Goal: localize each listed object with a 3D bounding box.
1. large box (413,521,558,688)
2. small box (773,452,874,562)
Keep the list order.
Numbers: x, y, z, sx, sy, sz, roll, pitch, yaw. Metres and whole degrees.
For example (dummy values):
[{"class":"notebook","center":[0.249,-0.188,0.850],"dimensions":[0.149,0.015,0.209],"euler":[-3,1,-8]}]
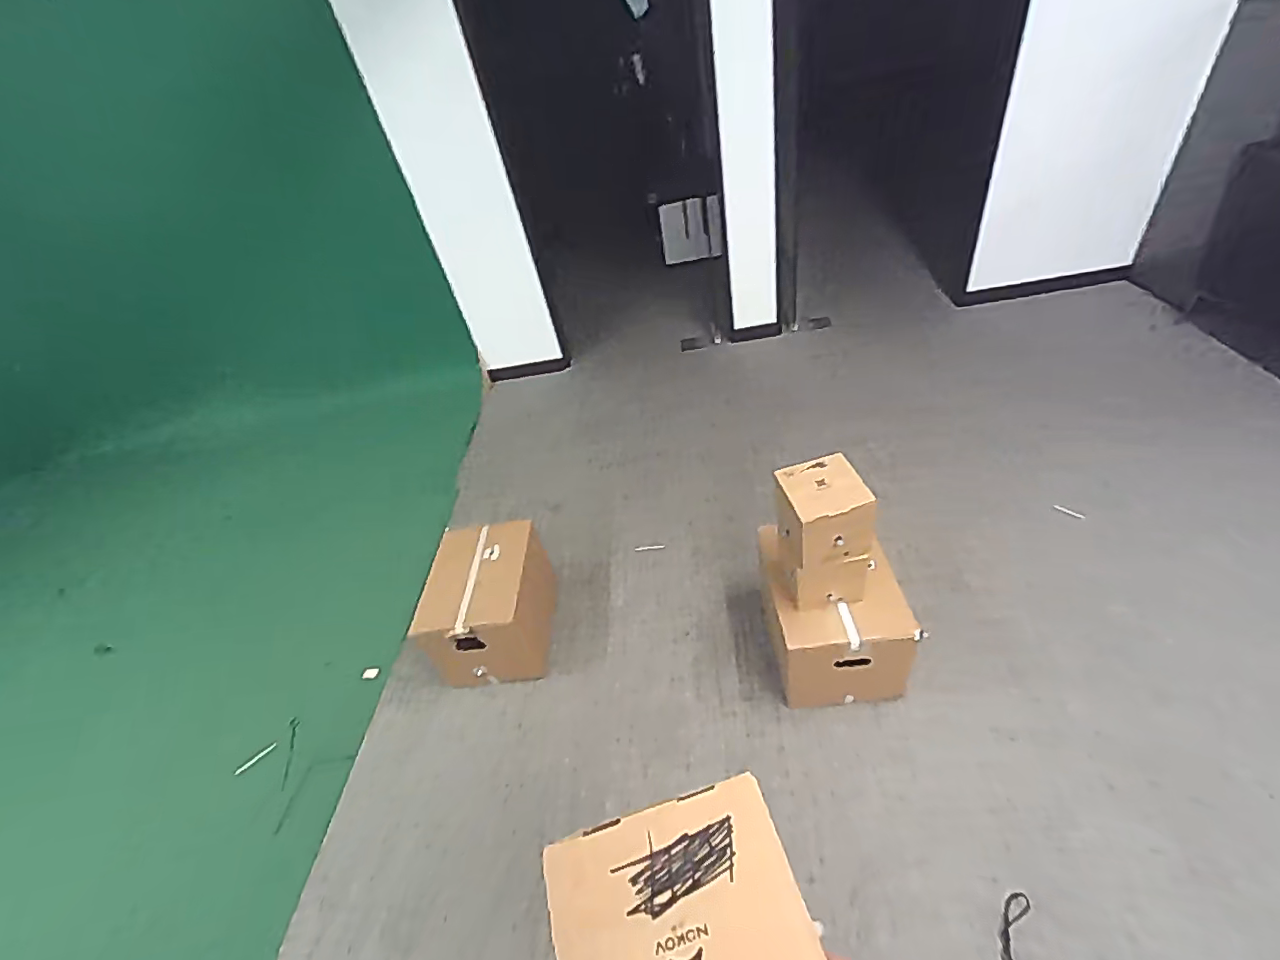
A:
[{"class":"large box","center":[-0.471,0.400,1.755],"dimensions":[0.320,0.320,0.408],"euler":[-9,40,7]},{"class":"small box","center":[0.419,0.069,1.250],"dimensions":[0.168,0.176,0.179],"euler":[-15,42,1]}]
